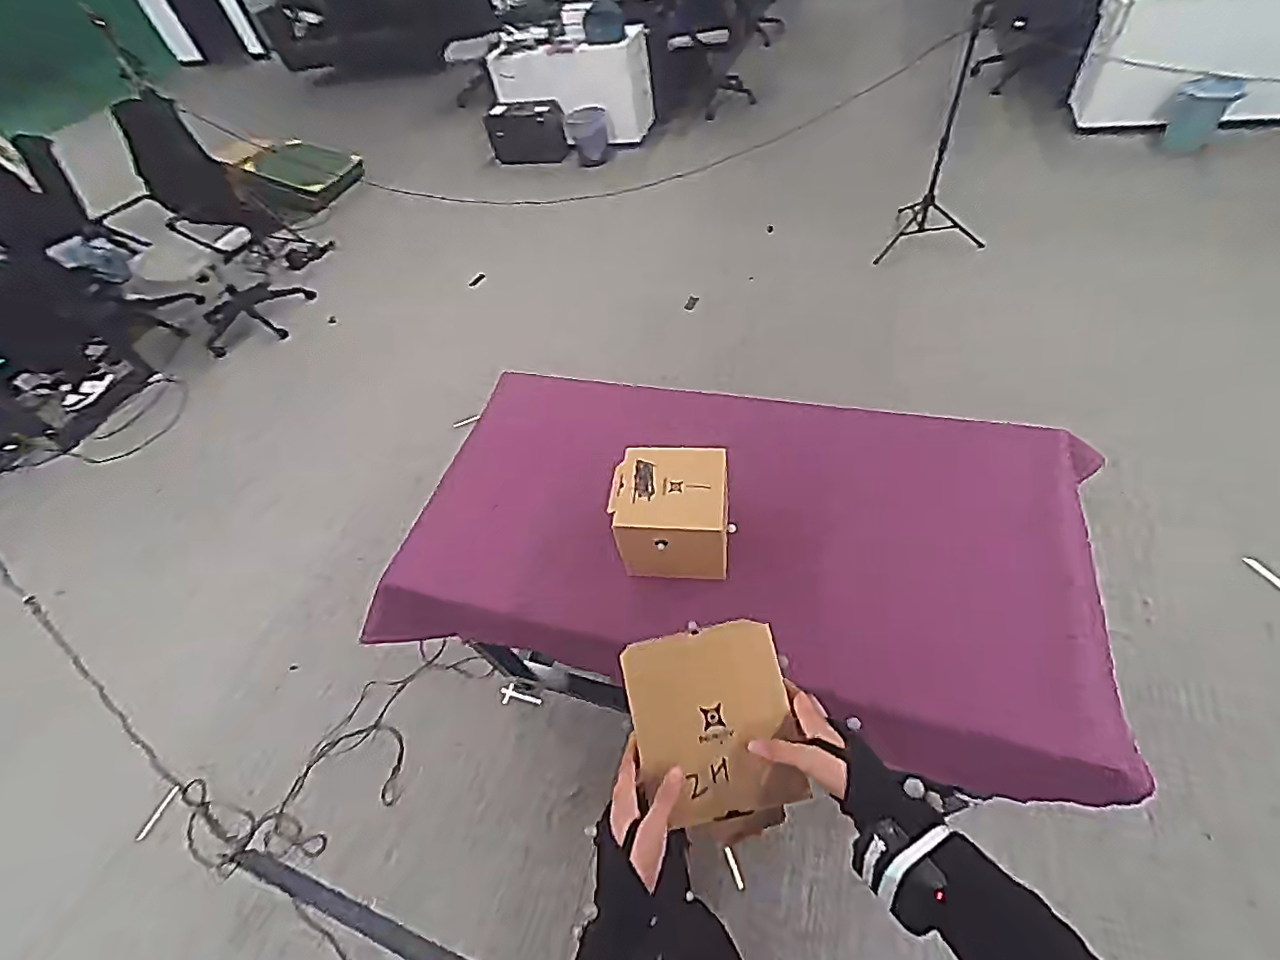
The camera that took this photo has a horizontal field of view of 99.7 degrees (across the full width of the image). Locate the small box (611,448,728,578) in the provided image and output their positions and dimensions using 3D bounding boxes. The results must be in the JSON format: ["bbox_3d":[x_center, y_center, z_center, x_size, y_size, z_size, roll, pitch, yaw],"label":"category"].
[{"bbox_3d":[0.060,0.060,0.941,0.179,0.176,0.168,1,53,11],"label":"small box"}]

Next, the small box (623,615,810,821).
[{"bbox_3d":[0.078,0.262,0.637,0.168,0.176,0.179,-12,77,0],"label":"small box"}]
